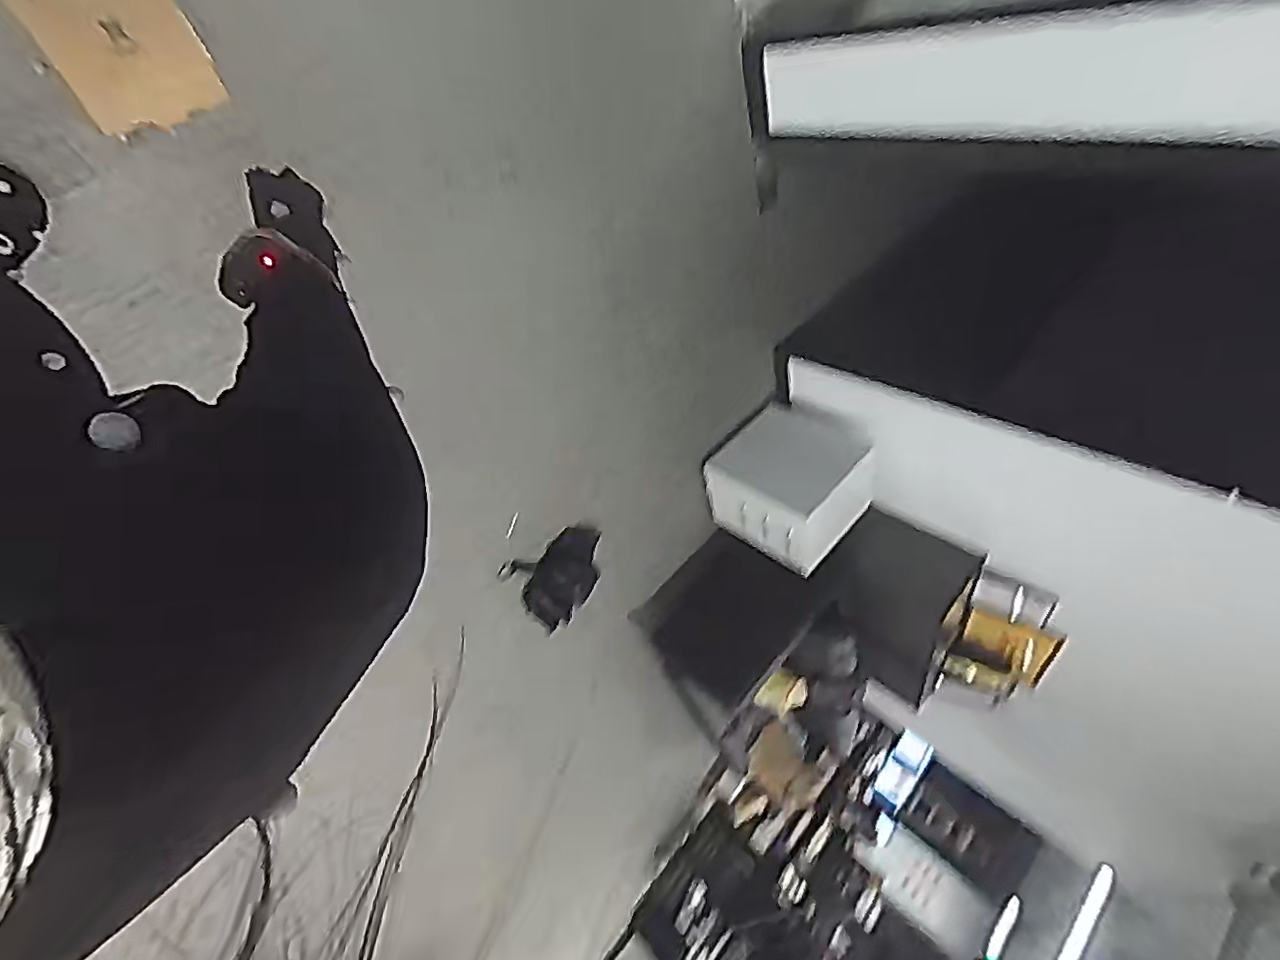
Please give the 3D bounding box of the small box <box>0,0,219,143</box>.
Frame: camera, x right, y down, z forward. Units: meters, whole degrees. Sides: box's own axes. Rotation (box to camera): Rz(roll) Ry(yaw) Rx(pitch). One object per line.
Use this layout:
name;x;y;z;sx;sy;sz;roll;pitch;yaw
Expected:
small box;-0.727;-0.585;0.736;0.168;0.176;0.179;-39;137;-21
